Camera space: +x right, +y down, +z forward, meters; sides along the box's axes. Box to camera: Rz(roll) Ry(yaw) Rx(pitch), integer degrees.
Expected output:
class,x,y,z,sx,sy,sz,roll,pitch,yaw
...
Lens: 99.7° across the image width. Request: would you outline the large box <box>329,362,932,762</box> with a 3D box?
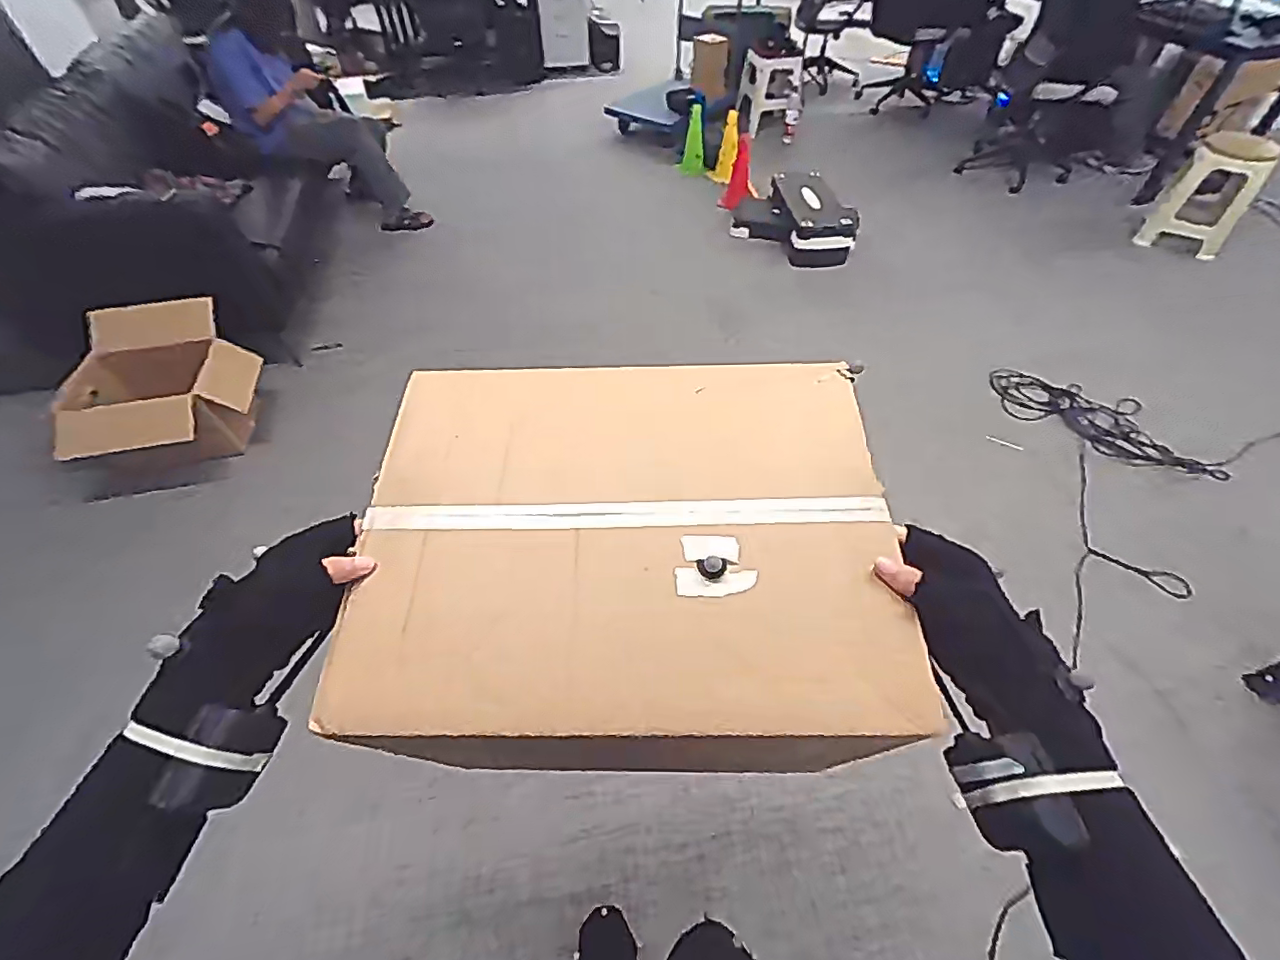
class,x,y,z,sx,sy,sz,roll,pitch,yaw
large box,-0.007,0.101,0.554,0.408,0.320,0.320,0,59,1
